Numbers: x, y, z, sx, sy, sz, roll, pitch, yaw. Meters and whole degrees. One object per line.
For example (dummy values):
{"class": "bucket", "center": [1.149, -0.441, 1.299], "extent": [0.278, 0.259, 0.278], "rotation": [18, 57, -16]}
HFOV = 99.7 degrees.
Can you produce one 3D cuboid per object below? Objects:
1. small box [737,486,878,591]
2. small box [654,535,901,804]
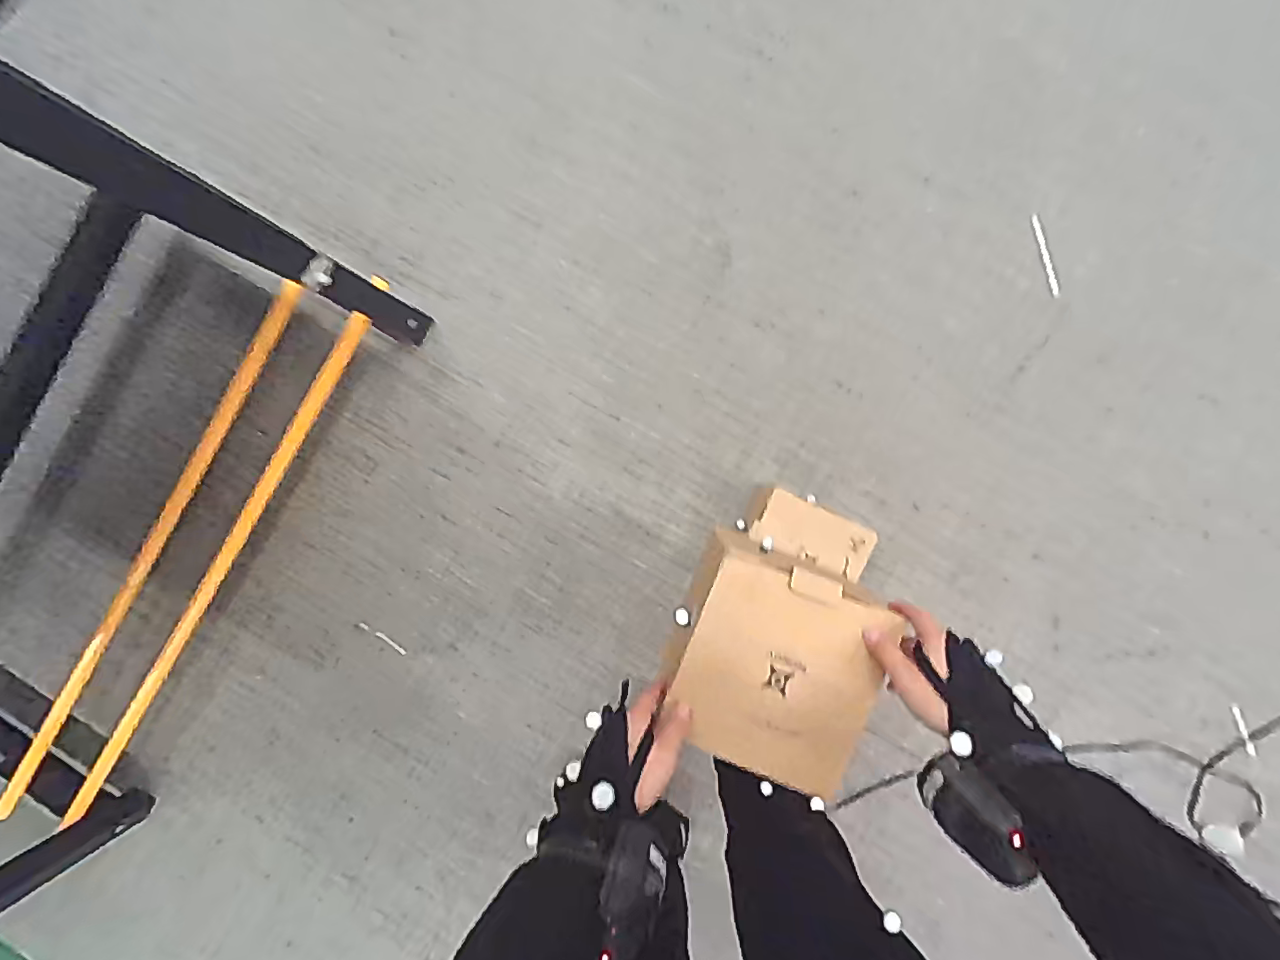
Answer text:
{"class": "small box", "center": [0.260, 0.121, 0.915], "extent": [0.179, 0.176, 0.168], "rotation": [26, 93, 5]}
{"class": "small box", "center": [0.122, 0.168, 0.544], "extent": [0.168, 0.176, 0.179], "rotation": [22, 94, 3]}
